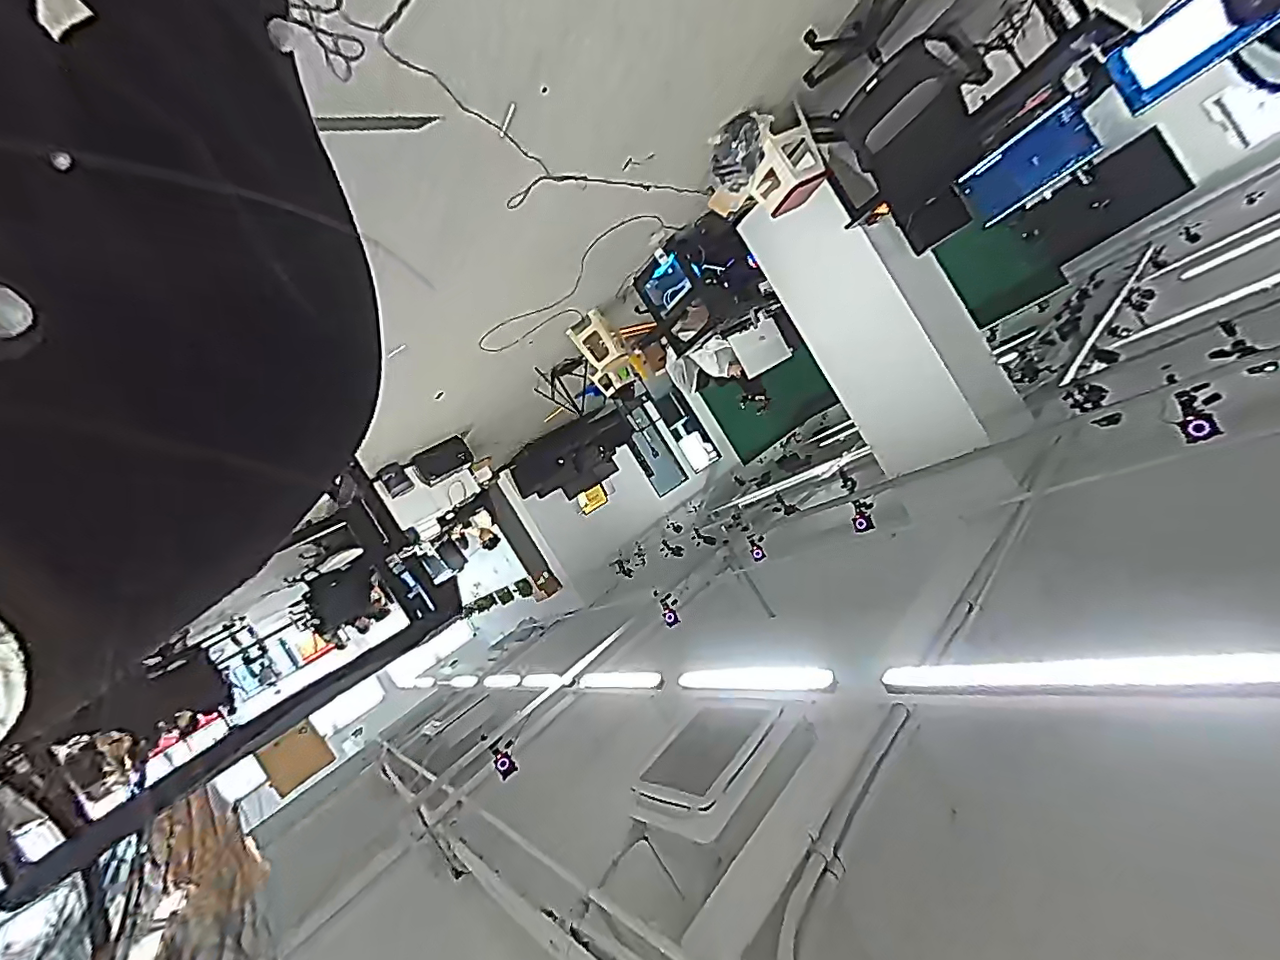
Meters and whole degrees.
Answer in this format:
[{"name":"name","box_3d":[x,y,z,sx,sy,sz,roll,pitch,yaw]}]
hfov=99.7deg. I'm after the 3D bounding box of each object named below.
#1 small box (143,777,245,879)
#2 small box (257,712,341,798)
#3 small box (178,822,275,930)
[{"name":"small box","box_3d":[-1.263,0.978,1.541,0.168,0.176,0.179,-34,-177,-38]},{"name":"small box","box_3d":[-1.078,0.860,1.707,0.168,0.176,0.179,-32,-177,-37]},{"name":"small box","box_3d":[-1.179,1.119,1.546,0.168,0.176,0.179,-33,-178,-39]}]
